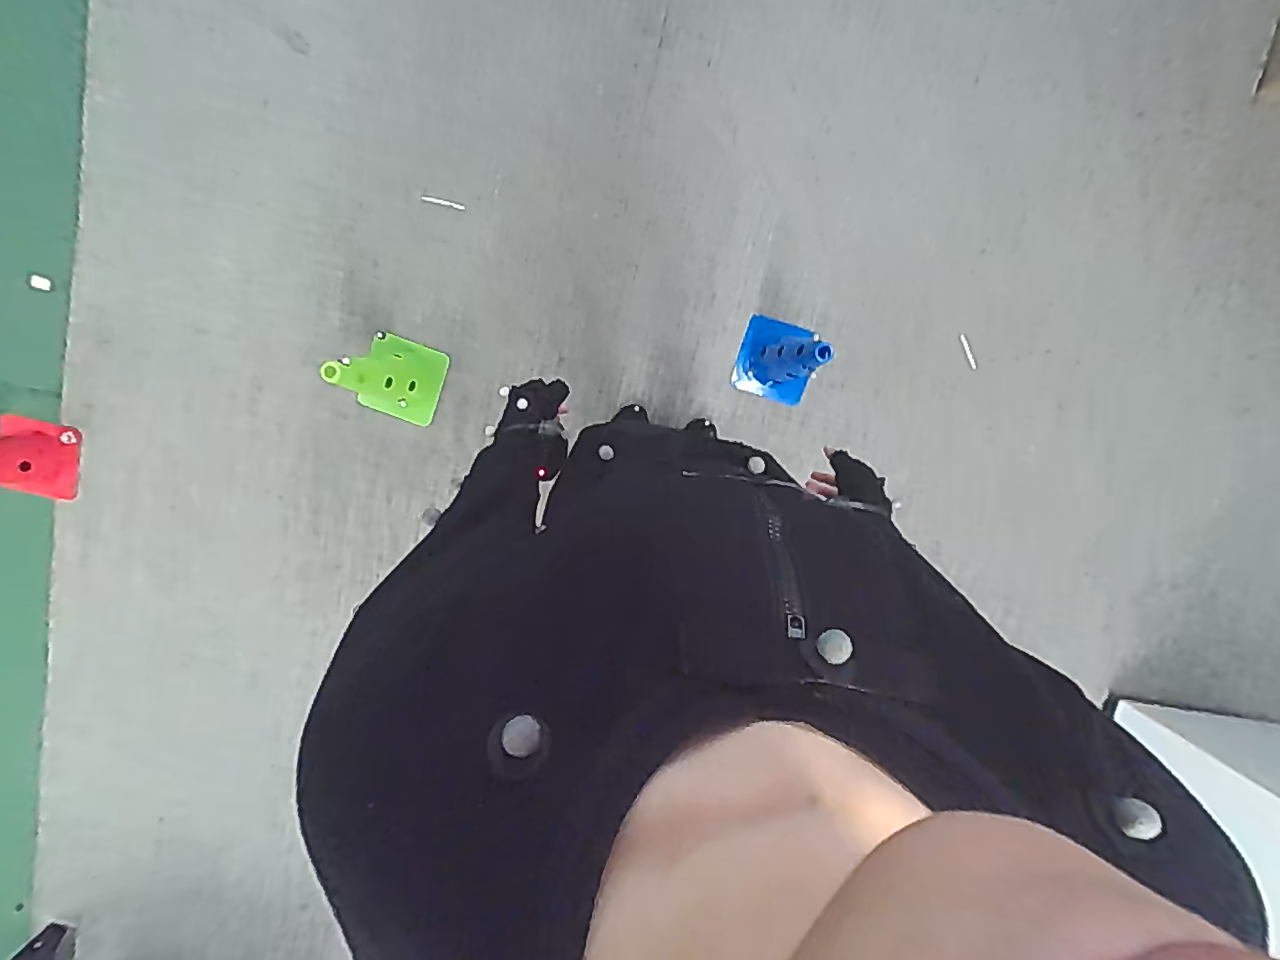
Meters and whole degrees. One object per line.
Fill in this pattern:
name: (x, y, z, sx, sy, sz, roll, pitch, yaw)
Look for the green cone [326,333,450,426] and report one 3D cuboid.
green cone: (-0.610, -0.238, 1.244, 0.202, 0.368, 0.200, 19, 97, -4)
